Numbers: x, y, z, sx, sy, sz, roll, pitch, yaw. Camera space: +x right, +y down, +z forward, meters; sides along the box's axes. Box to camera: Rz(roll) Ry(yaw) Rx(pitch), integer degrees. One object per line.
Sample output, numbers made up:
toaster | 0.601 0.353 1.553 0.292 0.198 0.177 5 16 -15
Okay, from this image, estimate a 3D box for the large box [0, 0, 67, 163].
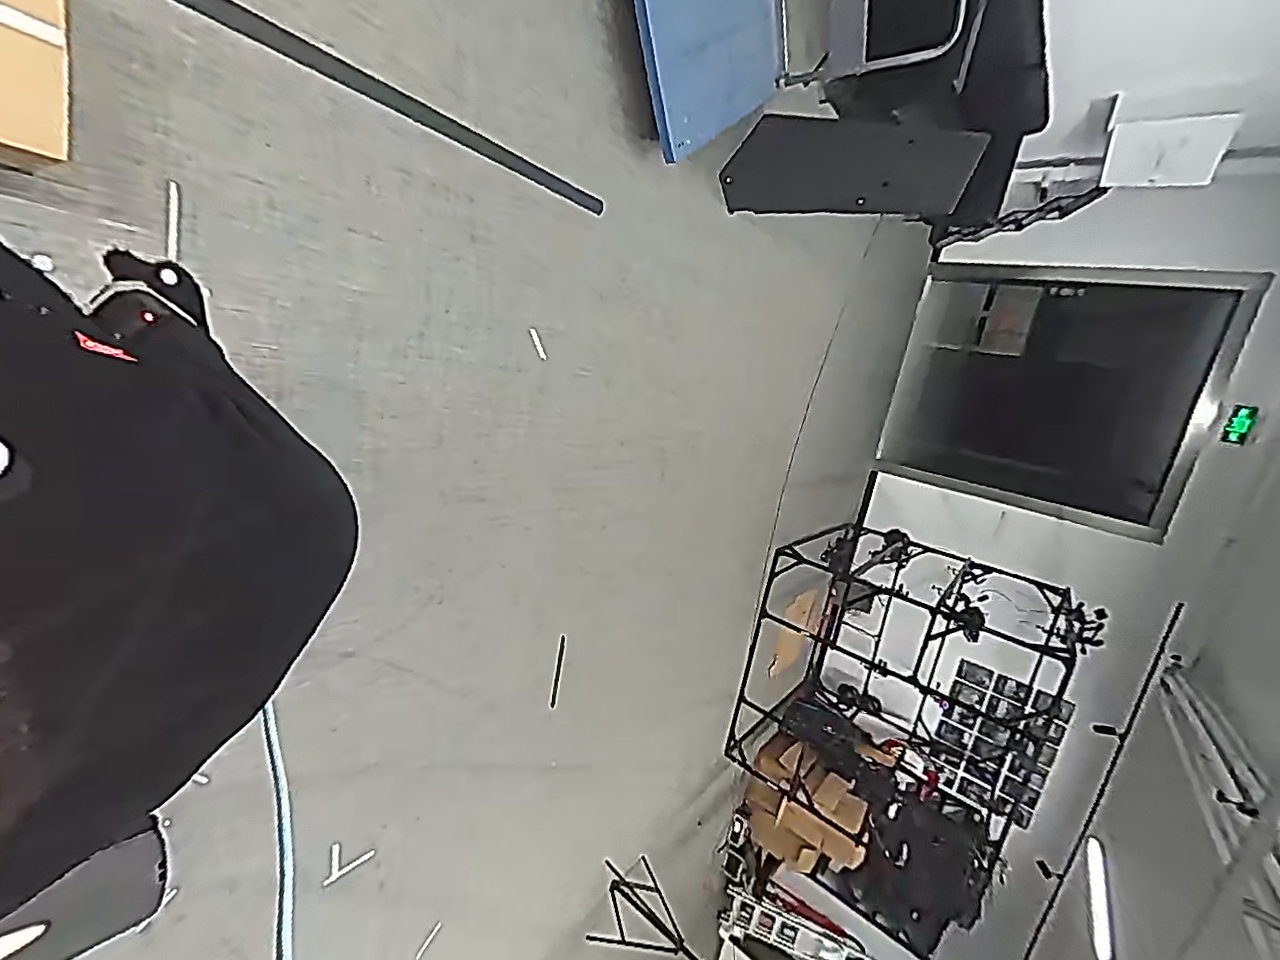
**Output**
large box | -1.042 -0.644 0.674 0.408 0.320 0.320 -6 111 -54
